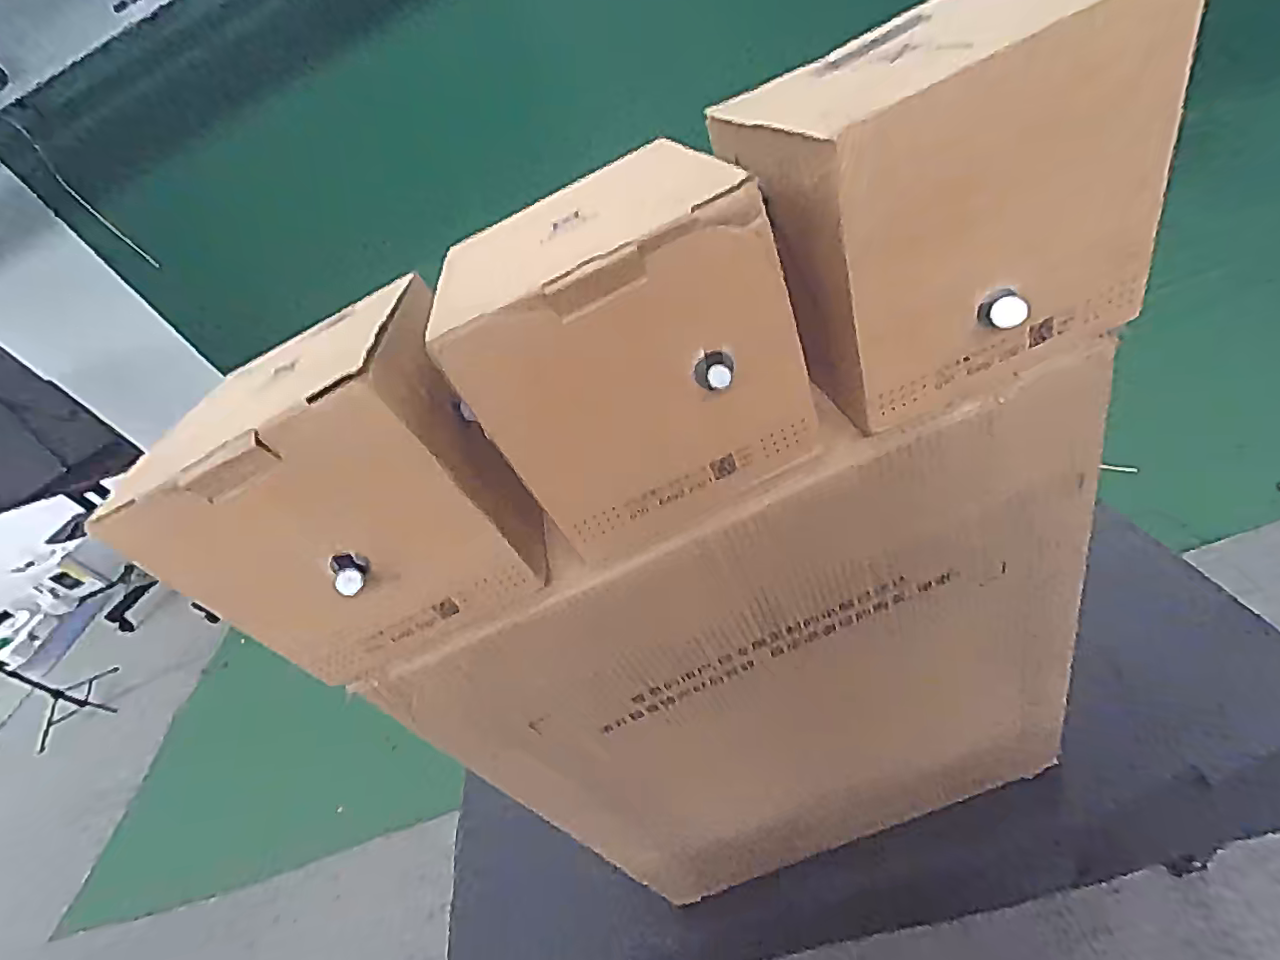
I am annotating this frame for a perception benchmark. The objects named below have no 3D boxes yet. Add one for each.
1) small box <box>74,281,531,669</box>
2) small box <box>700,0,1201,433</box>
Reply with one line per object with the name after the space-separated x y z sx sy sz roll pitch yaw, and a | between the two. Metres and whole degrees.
-0.186 0.002 0.367 0.168 0.176 0.179 -26 37 7 | small box
0.155 -0.158 0.324 0.168 0.176 0.179 -25 38 6 | small box
